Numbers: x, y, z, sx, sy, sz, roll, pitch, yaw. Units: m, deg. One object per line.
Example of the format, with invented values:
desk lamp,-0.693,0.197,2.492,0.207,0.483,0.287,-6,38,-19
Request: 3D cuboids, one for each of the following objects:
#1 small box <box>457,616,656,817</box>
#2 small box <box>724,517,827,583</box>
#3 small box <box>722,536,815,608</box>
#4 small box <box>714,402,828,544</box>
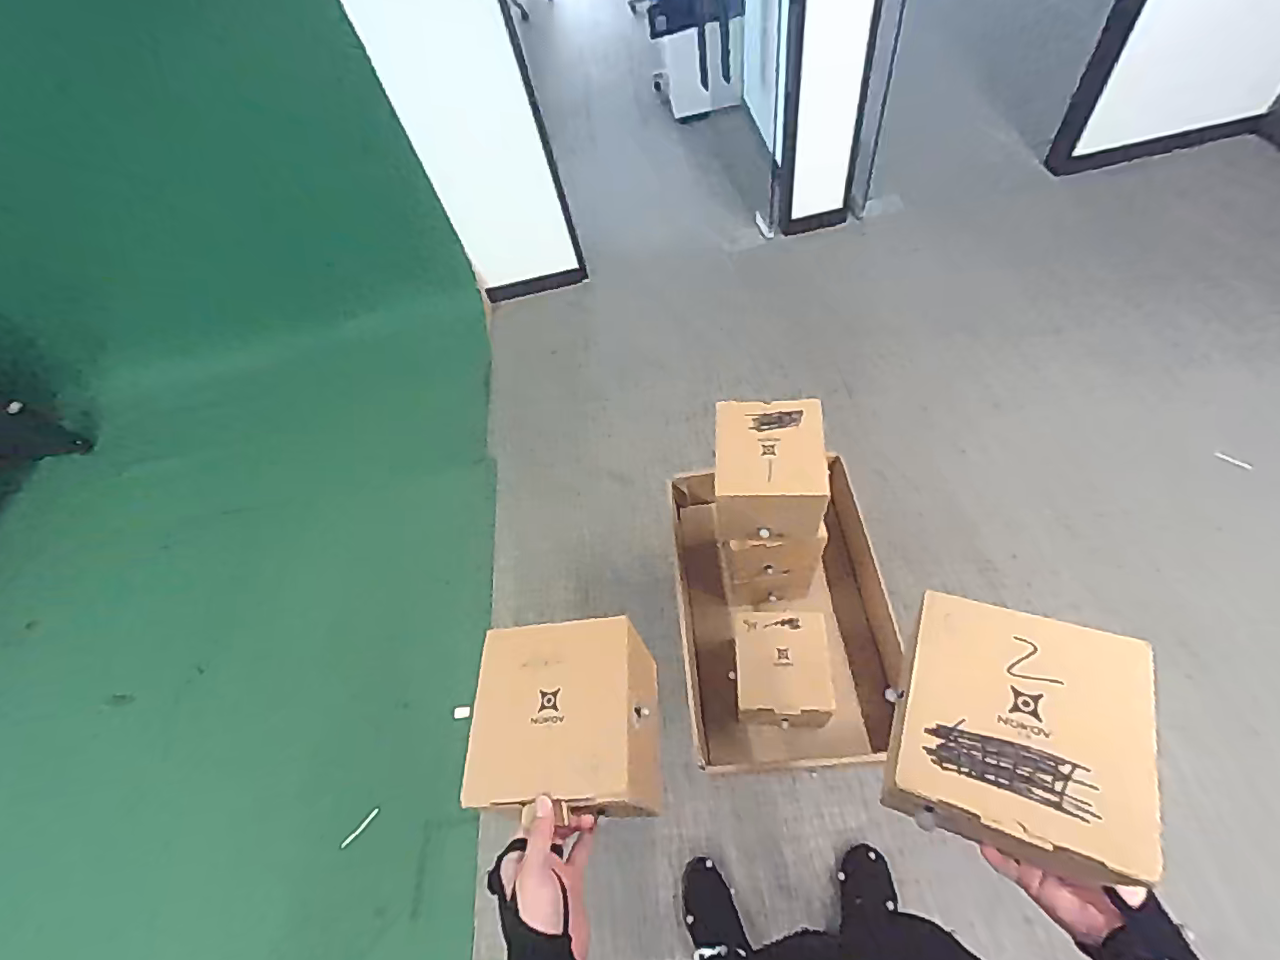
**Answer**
small box,-0.078,0.273,0.610,0.168,0.176,0.179,-8,52,10
small box,0.242,0.078,1.030,0.168,0.176,0.179,-9,58,5
small box,0.269,0.160,1.168,0.168,0.176,0.179,-9,58,7
small box,0.209,-0.009,0.895,0.168,0.176,0.179,0,60,11
